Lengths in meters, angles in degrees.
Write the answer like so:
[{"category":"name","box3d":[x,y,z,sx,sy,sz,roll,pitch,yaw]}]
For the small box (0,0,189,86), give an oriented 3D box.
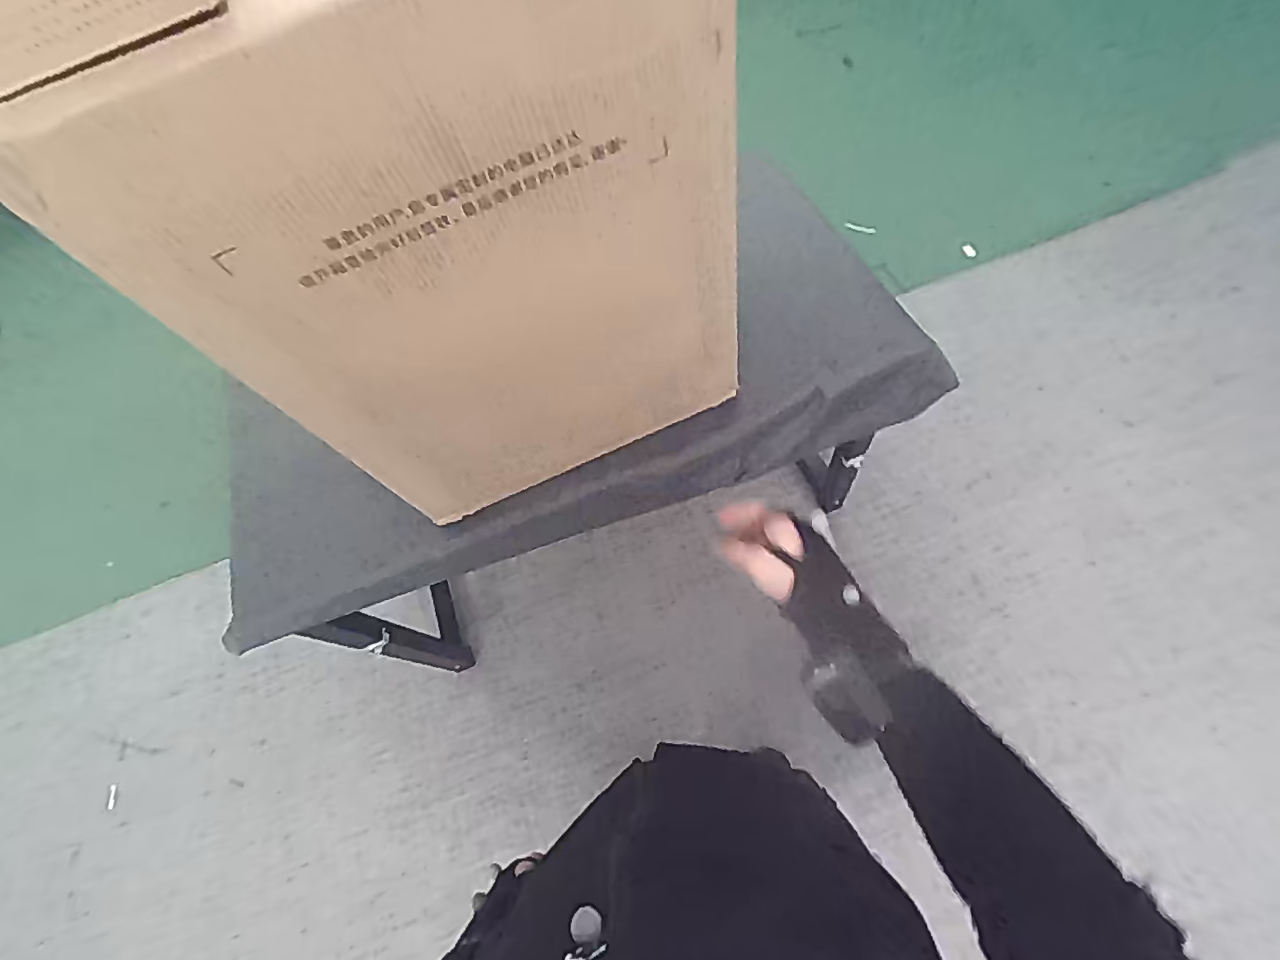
[{"category":"small box","box3d":[-0.375,-0.354,0.287,0.179,0.176,0.168,-24,65,0]}]
